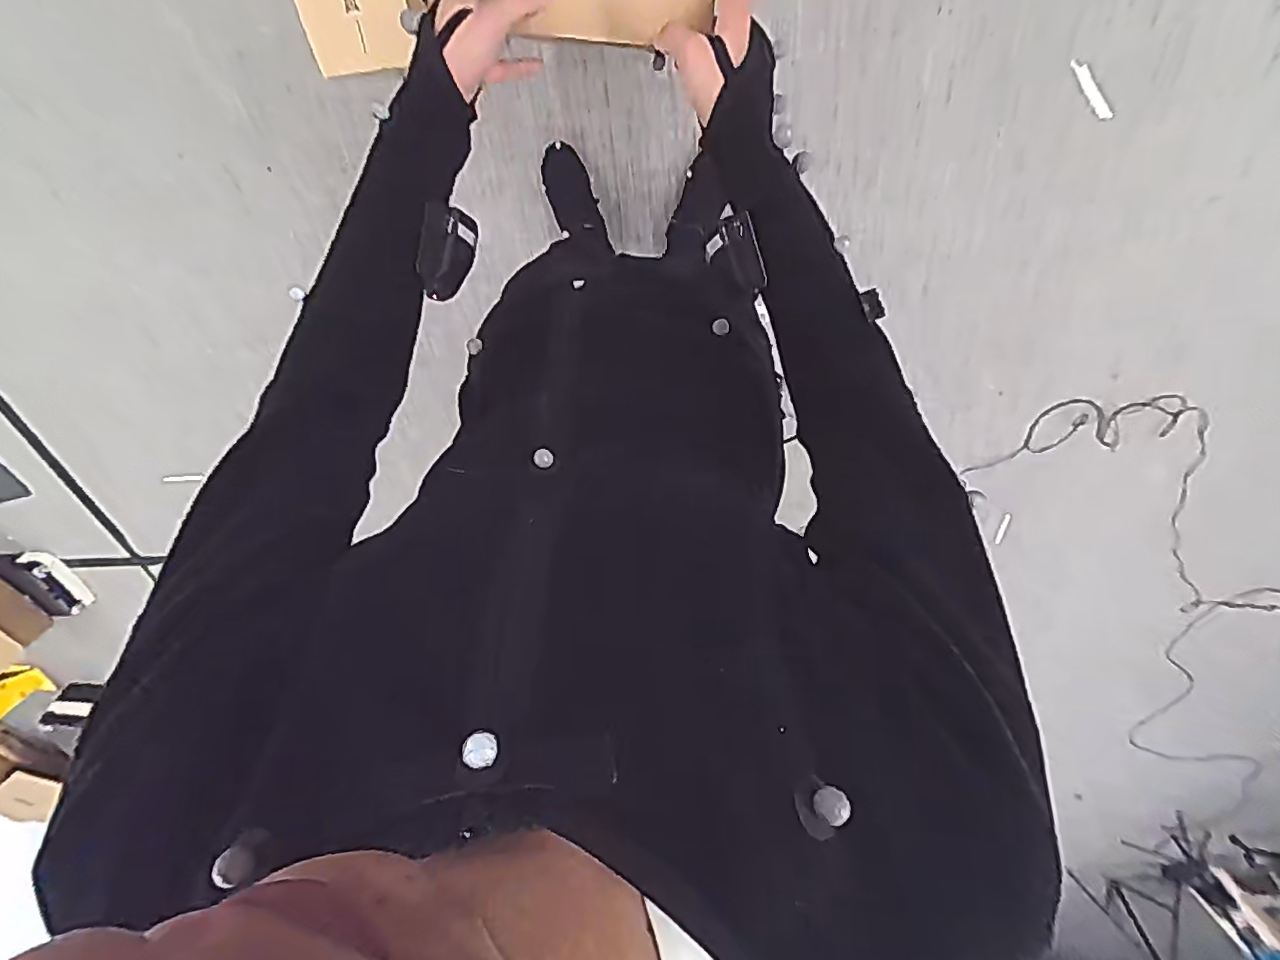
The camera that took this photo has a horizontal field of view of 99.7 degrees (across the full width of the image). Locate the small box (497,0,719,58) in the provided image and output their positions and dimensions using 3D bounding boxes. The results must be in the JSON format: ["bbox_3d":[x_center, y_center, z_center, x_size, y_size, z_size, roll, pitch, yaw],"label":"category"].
[{"bbox_3d":[-0.022,-0.466,0.453,0.179,0.176,0.168,2,128,-4],"label":"small box"}]

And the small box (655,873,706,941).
[{"bbox_3d":[0.155,1.604,2.036,0.179,0.176,0.168,-4,128,6],"label":"small box"}]

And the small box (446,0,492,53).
[{"bbox_3d":[-0.383,-0.850,0.947,0.179,0.176,0.168,-6,126,8],"label":"small box"}]

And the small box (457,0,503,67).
[{"bbox_3d":[-0.391,-0.944,1.082,0.168,0.176,0.179,-6,126,7],"label":"small box"}]

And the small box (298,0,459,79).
[{"bbox_3d":[-0.402,-0.733,0.831,0.168,0.176,0.179,-3,127,6],"label":"small box"}]
